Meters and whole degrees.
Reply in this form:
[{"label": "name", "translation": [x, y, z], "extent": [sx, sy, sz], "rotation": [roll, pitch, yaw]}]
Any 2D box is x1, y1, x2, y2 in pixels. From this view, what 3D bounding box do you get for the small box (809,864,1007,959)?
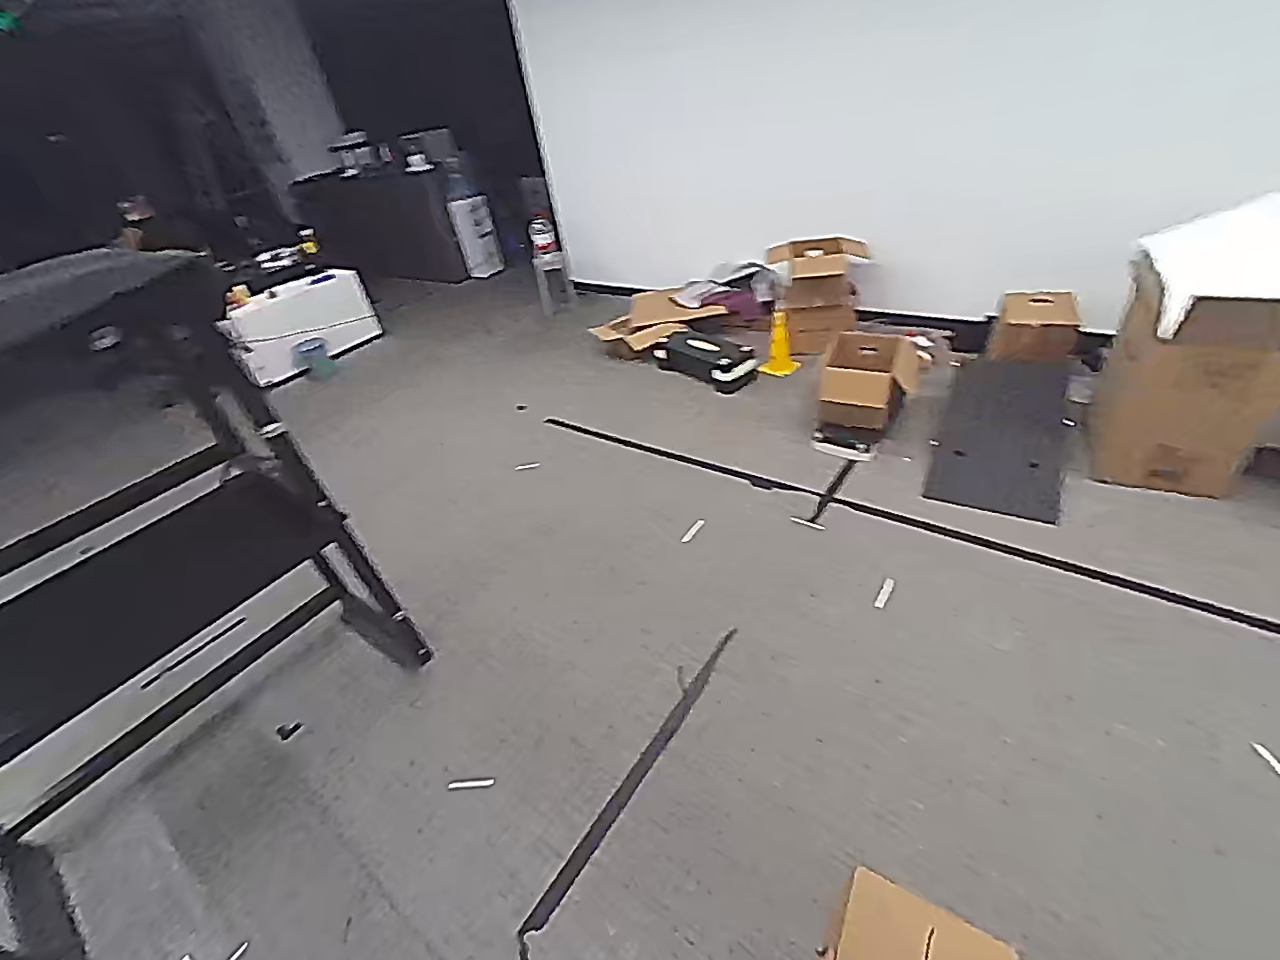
[{"label": "small box", "translation": [0.272, 0.576, 0.586], "extent": [0.168, 0.176, 0.179], "rotation": [17, 44, 24]}]
